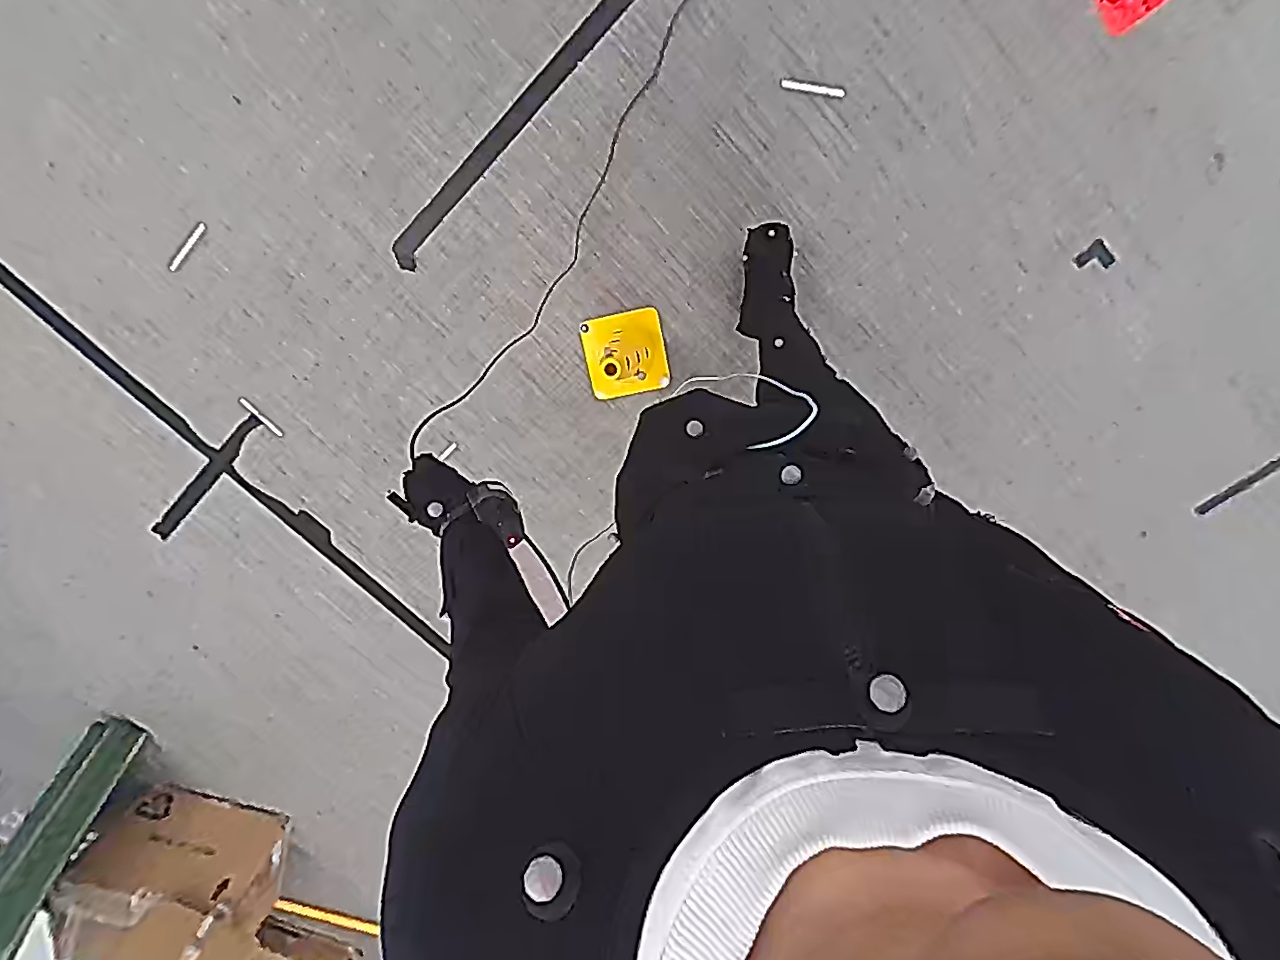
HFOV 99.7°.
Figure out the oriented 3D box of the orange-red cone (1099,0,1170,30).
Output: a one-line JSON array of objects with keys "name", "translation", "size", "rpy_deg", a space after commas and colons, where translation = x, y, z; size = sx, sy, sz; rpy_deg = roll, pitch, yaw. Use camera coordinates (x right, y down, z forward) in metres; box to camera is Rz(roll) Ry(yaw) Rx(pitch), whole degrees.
[{"name": "orange-red cone", "translation": [0.990, -0.991, 0.911], "size": [0.199, 0.360, 0.198], "rpy_deg": [-34, 101, 14]}]
